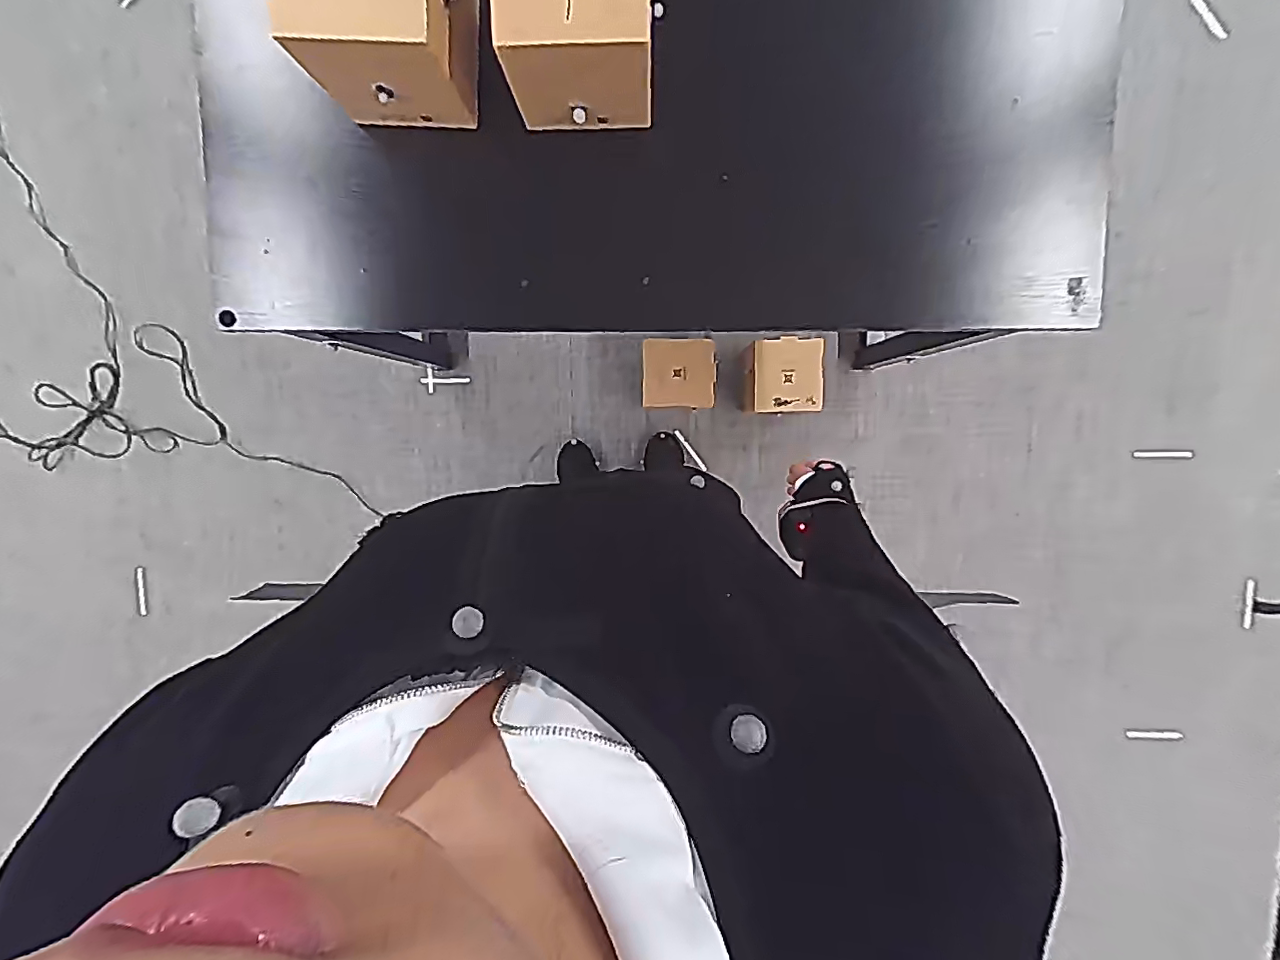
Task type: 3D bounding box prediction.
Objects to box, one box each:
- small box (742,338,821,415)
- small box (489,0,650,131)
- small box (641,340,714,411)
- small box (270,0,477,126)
[{"bbox_3d":[0.355,-0.259,1.379,0.168,0.176,0.179,-1,95,2],"label":"small box"},{"bbox_3d":[-0.073,-0.544,0.629,0.168,0.176,0.179,0,96,1],"label":"small box"},{"bbox_3d":[0.093,-0.263,1.387,0.179,0.176,0.168,0,95,2],"label":"small box"},{"bbox_3d":[-0.297,-0.549,0.633,0.168,0.176,0.179,3,95,0],"label":"small box"}]
